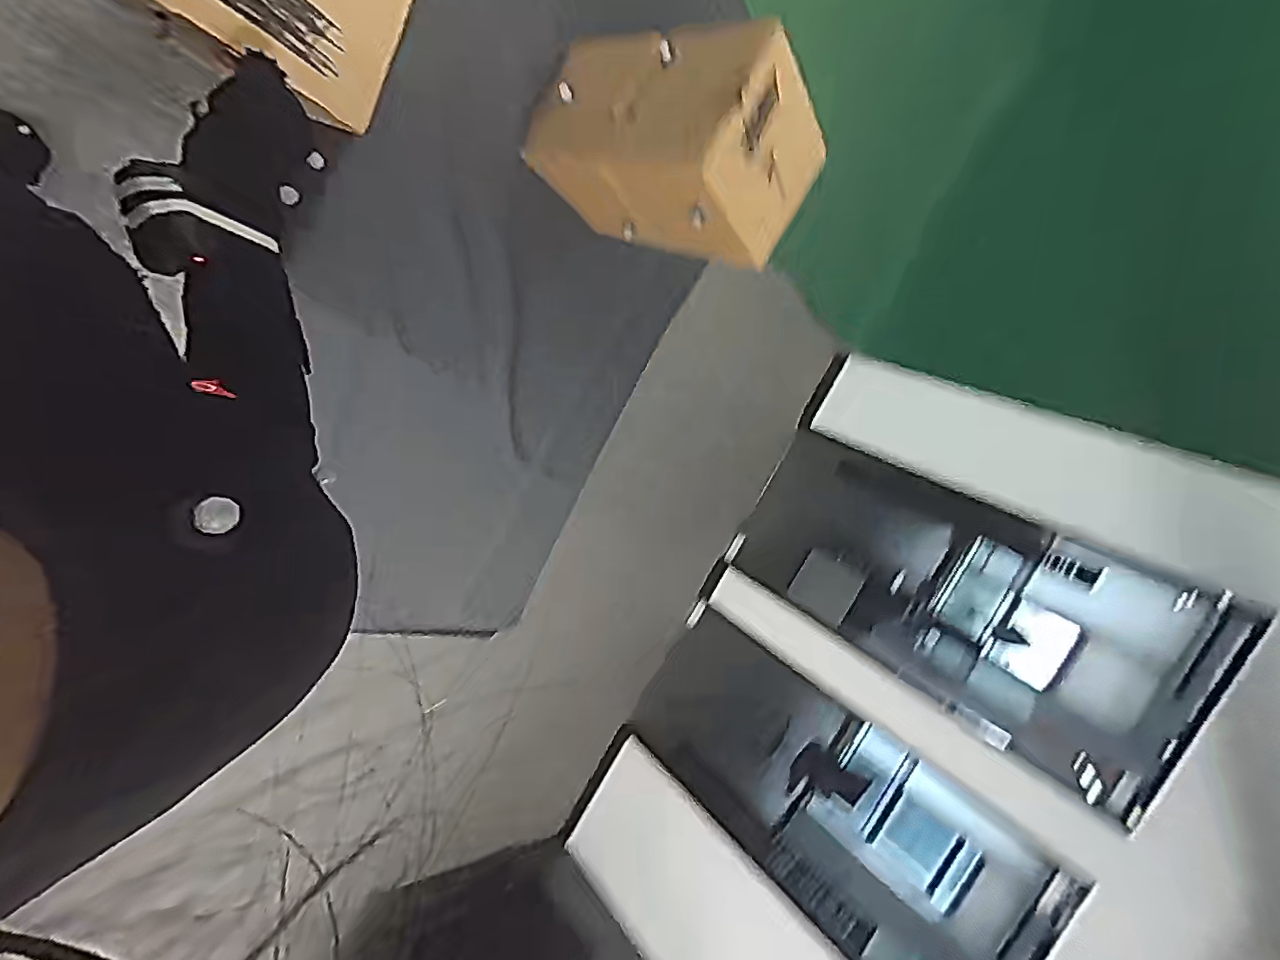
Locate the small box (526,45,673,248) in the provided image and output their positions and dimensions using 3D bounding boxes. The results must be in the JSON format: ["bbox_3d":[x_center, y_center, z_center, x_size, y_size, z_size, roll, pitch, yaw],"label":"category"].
[{"bbox_3d":[-0.022,-0.462,0.759,0.179,0.176,0.168,26,95,-53],"label":"small box"}]

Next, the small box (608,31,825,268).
[{"bbox_3d":[0.092,-0.393,0.662,0.179,0.176,0.168,28,94,-54],"label":"small box"}]
